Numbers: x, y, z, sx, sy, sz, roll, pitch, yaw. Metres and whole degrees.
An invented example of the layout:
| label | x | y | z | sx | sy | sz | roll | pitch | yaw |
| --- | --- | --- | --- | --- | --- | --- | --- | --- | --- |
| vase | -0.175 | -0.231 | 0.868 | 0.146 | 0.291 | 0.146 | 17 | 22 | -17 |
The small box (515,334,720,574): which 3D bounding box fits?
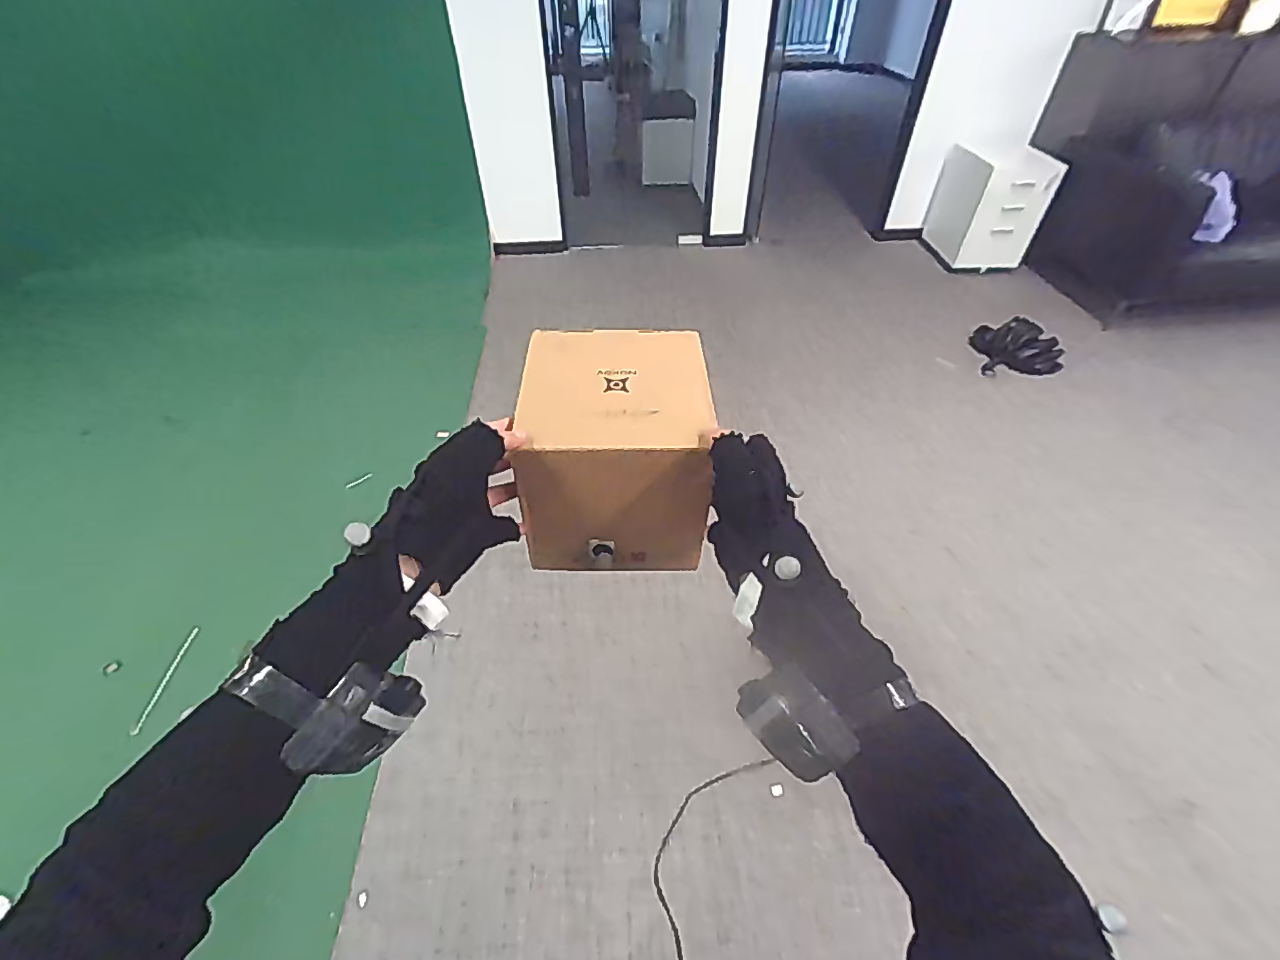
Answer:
| label | x | y | z | sx | sy | sz | roll | pitch | yaw |
| --- | --- | --- | --- | --- | --- | --- | --- | --- | --- |
| small box | -0.022 | -0.026 | 0.541 | 0.168 | 0.176 | 0.179 | 0 | 45 | -2 |
